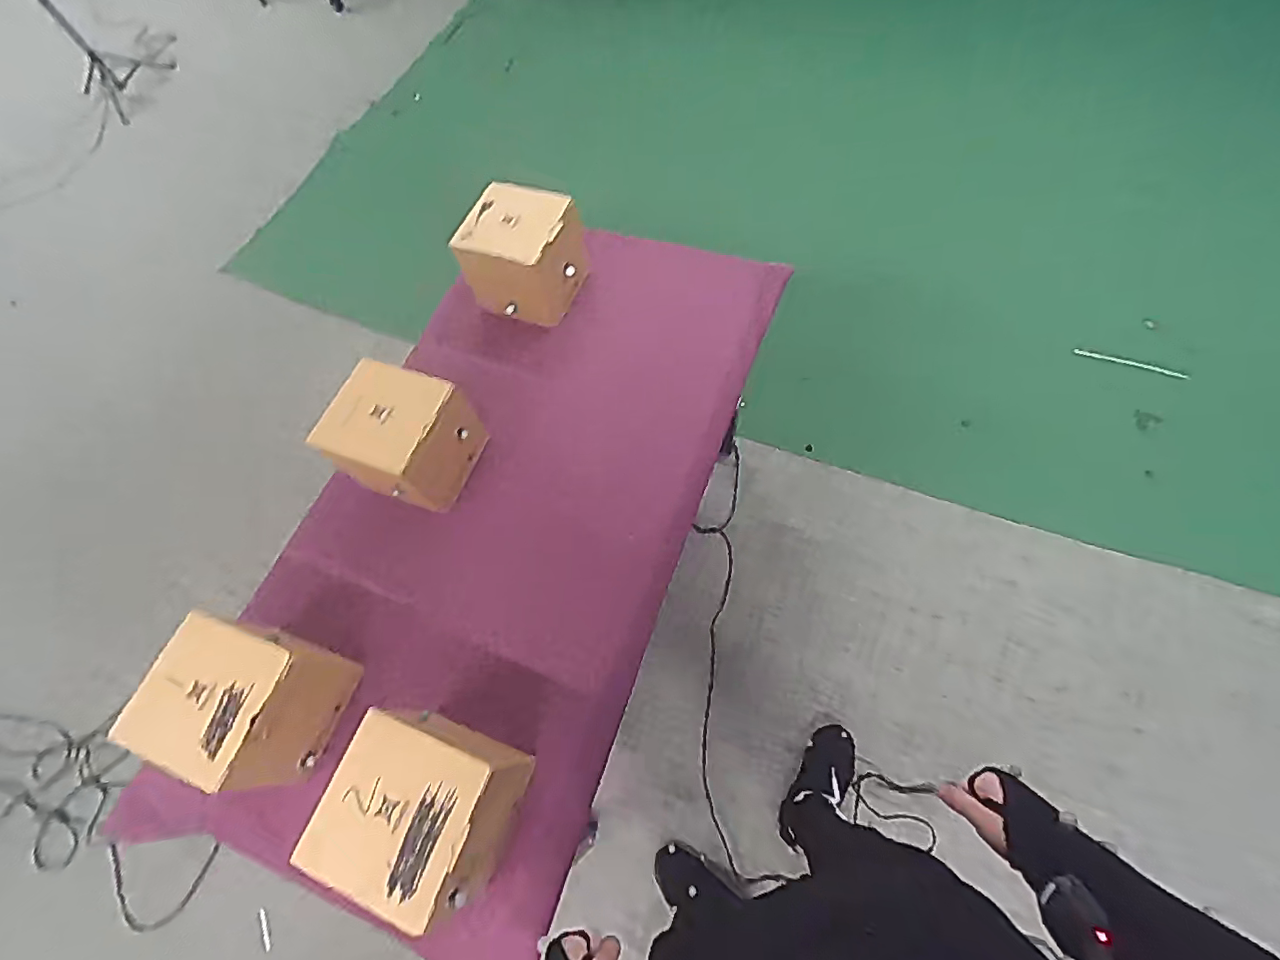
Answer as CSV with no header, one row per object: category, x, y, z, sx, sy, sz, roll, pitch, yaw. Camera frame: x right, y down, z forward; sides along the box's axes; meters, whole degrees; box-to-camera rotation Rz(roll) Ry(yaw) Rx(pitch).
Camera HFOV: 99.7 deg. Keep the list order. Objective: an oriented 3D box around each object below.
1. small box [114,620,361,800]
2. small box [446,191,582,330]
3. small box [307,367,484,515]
small box,-0.532,0.311,0.745,0.179,0.176,0.168,15,68,14
small box,-0.228,-0.414,1.040,0.179,0.176,0.168,18,69,14
small box,-0.388,-0.057,0.898,0.179,0.176,0.168,17,68,14
